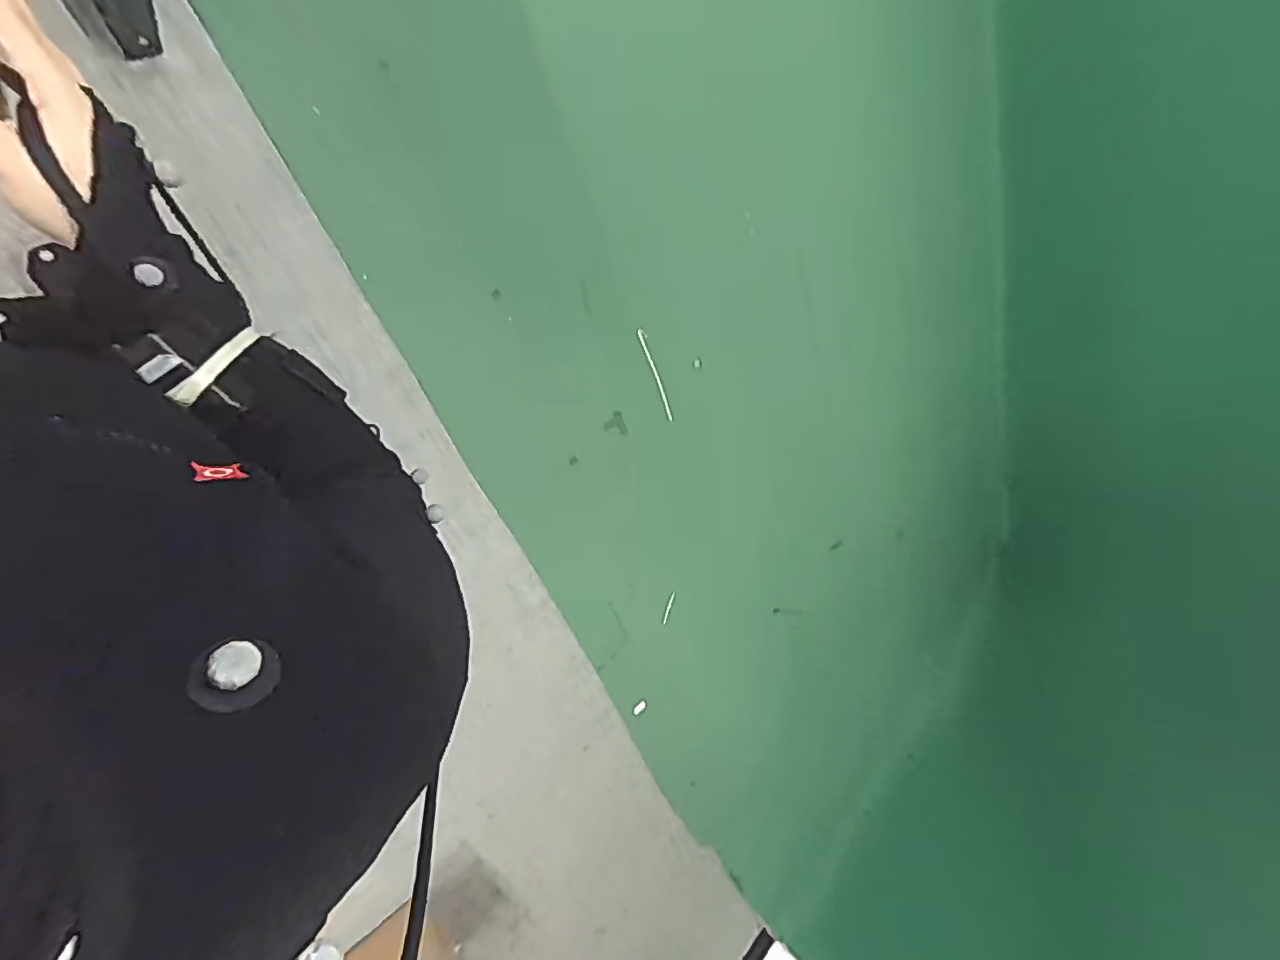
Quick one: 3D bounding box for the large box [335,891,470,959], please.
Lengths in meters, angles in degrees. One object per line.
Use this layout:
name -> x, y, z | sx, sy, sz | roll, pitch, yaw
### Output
large box -> -0.650, 1.403, 1.387 | 0.408, 0.320, 0.320 | -31, 118, -28
